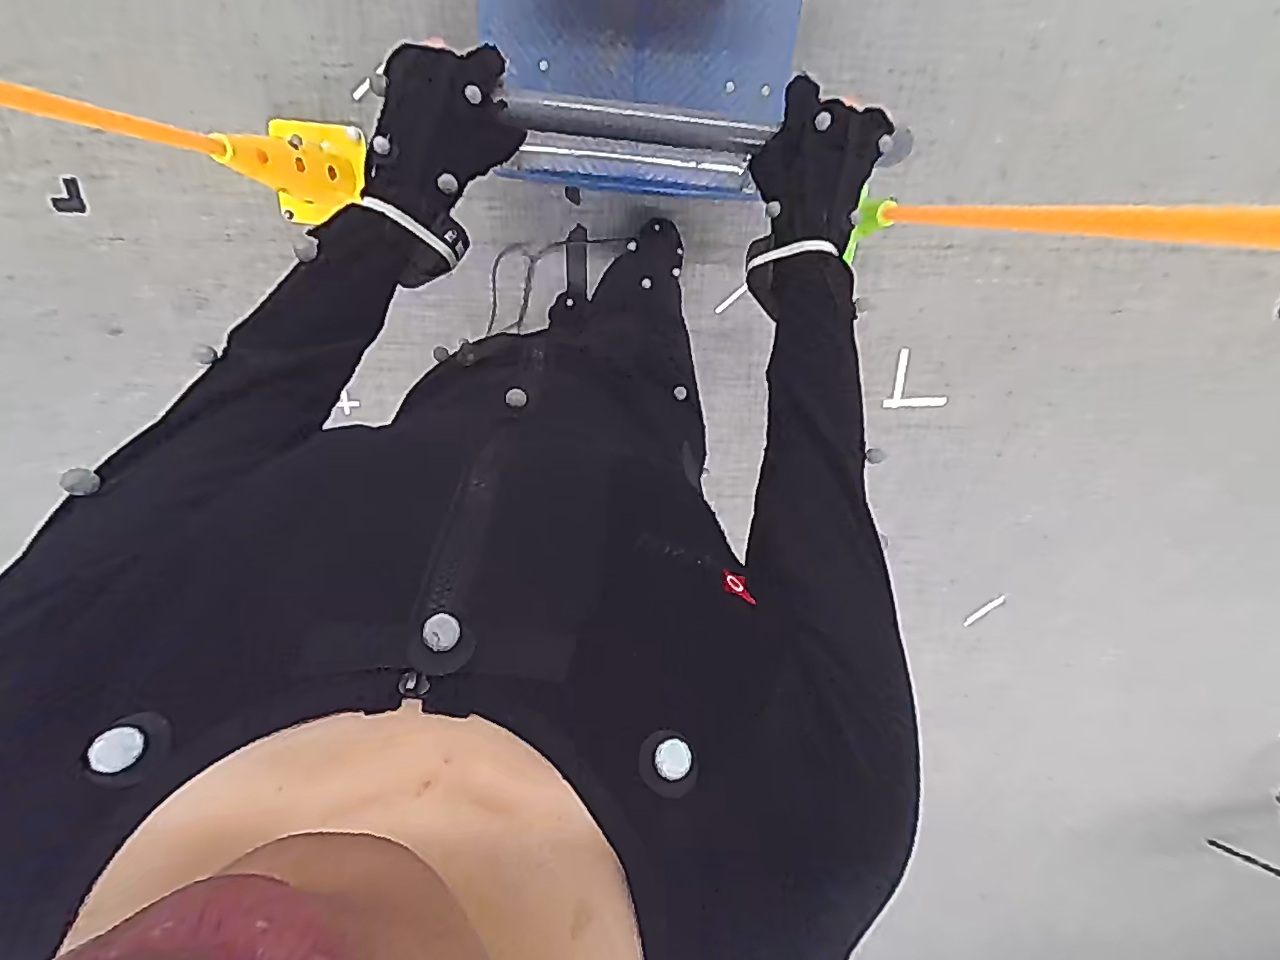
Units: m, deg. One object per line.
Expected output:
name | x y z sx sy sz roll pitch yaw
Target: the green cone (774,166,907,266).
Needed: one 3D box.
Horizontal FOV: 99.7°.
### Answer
green cone | 0.437 -0.551 1.118 0.202 0.368 0.200 3 113 -6
